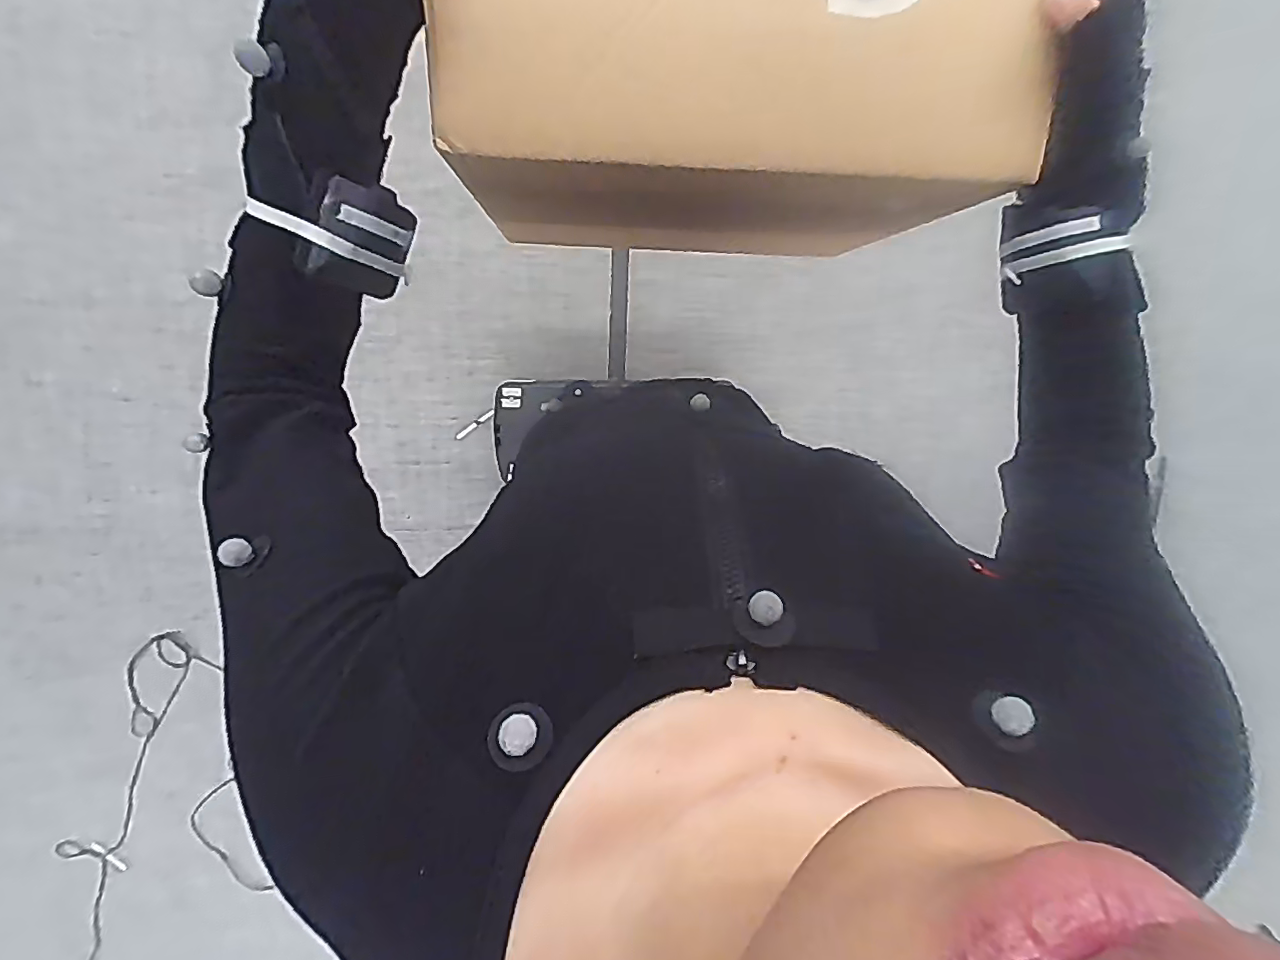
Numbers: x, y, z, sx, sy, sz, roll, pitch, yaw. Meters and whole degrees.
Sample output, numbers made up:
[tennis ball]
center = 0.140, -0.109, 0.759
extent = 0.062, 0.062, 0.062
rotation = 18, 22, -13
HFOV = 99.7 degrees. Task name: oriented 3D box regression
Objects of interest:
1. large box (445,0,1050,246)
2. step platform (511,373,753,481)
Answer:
[large box]
center = 0.060, -0.399, 0.475
extent = 0.408, 0.320, 0.320
rotation = -1, 105, -6
[step platform]
center = -0.024, -0.157, 1.556
extent = 0.684, 0.204, 0.286
rotation = -2, 100, -5
